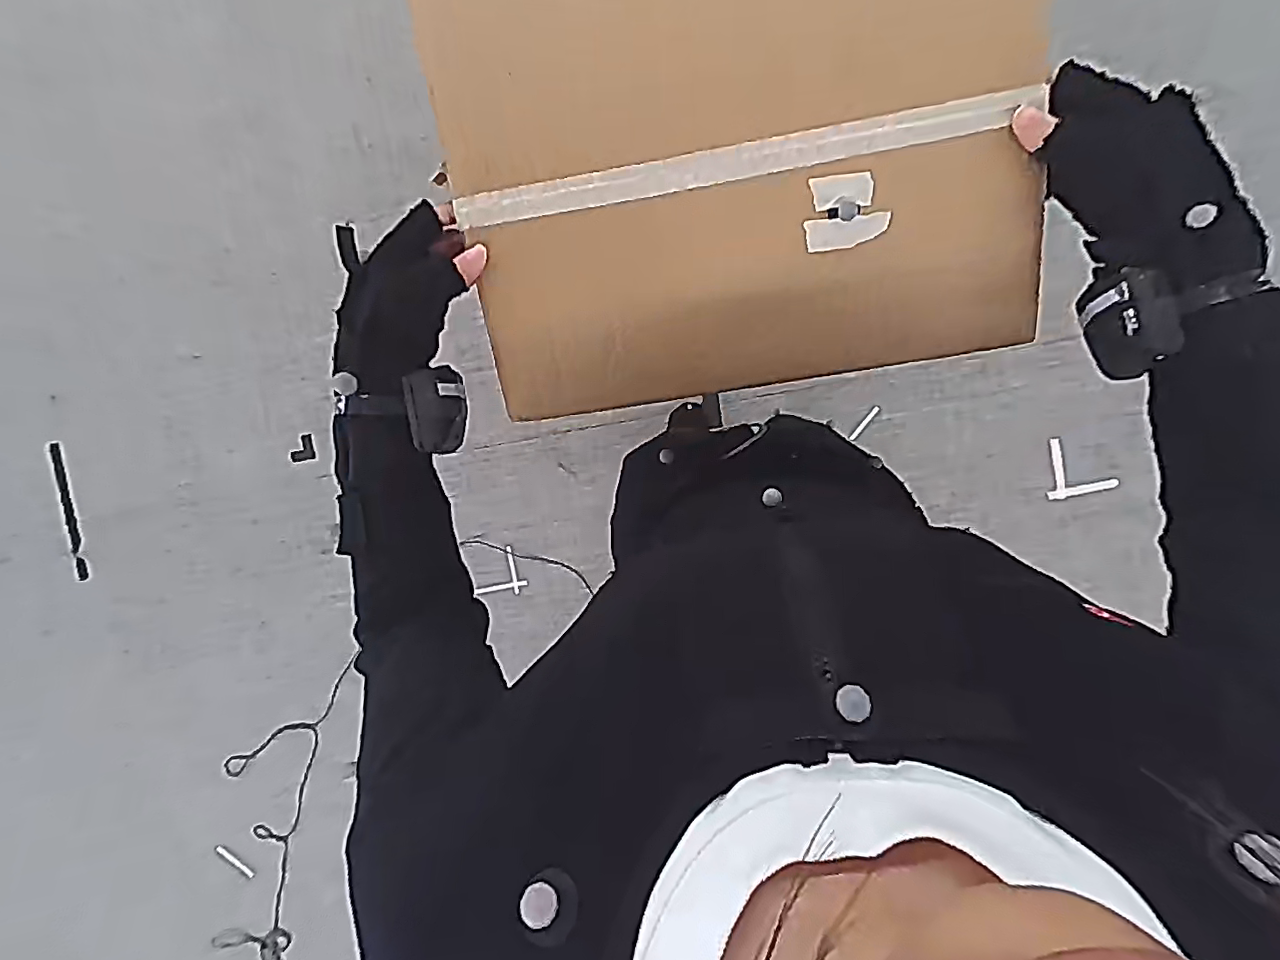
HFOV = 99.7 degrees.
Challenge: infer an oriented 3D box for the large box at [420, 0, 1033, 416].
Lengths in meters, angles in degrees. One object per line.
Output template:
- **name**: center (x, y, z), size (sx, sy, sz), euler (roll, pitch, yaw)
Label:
- **large box**: center (0.072, -0.272, 0.529), size (0.408, 0.320, 0.320), euler (-9, 108, 4)
